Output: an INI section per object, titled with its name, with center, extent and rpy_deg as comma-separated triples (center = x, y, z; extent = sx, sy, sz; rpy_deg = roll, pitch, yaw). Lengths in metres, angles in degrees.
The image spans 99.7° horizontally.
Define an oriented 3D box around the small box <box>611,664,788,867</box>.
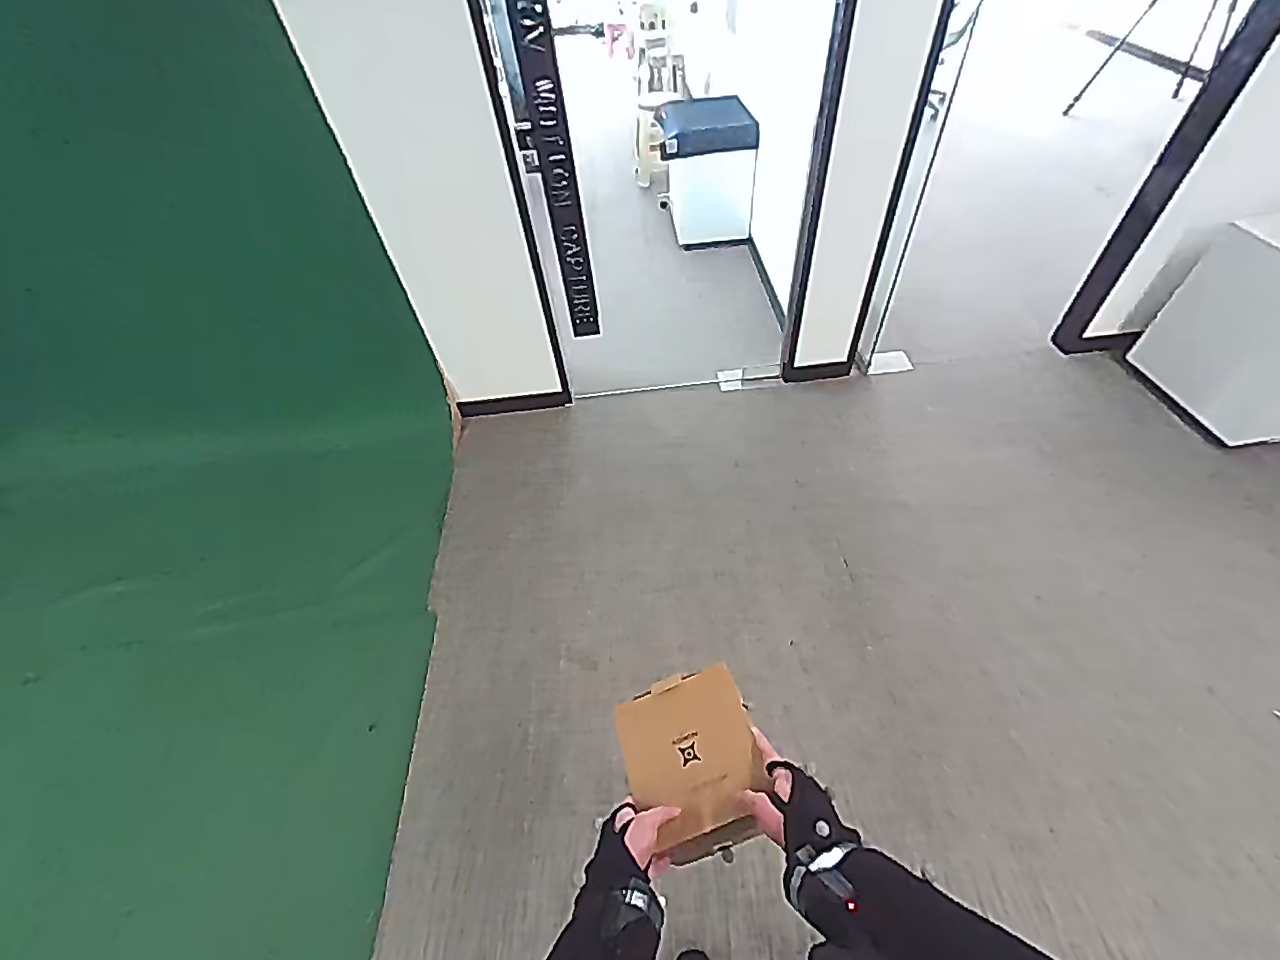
[small box]
center = 0.078, 0.378, 0.710
extent = 0.168, 0.176, 0.179
rpy_deg = -23, 47, 5
